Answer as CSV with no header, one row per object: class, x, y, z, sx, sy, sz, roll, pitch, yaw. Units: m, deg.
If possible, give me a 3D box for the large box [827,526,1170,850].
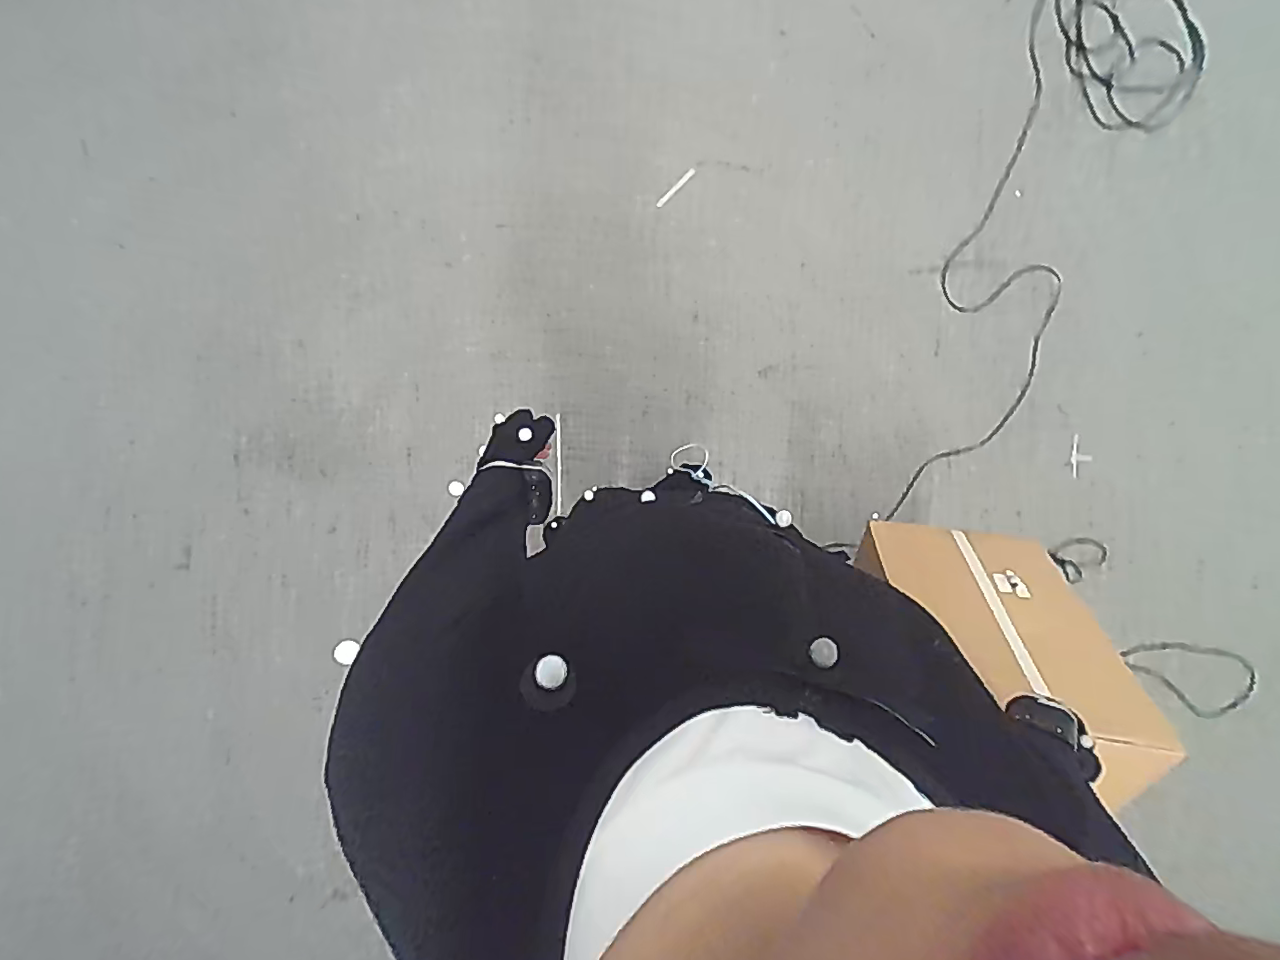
large box,0.543,0.339,0.941,0.320,0.408,0.320,9,124,4
